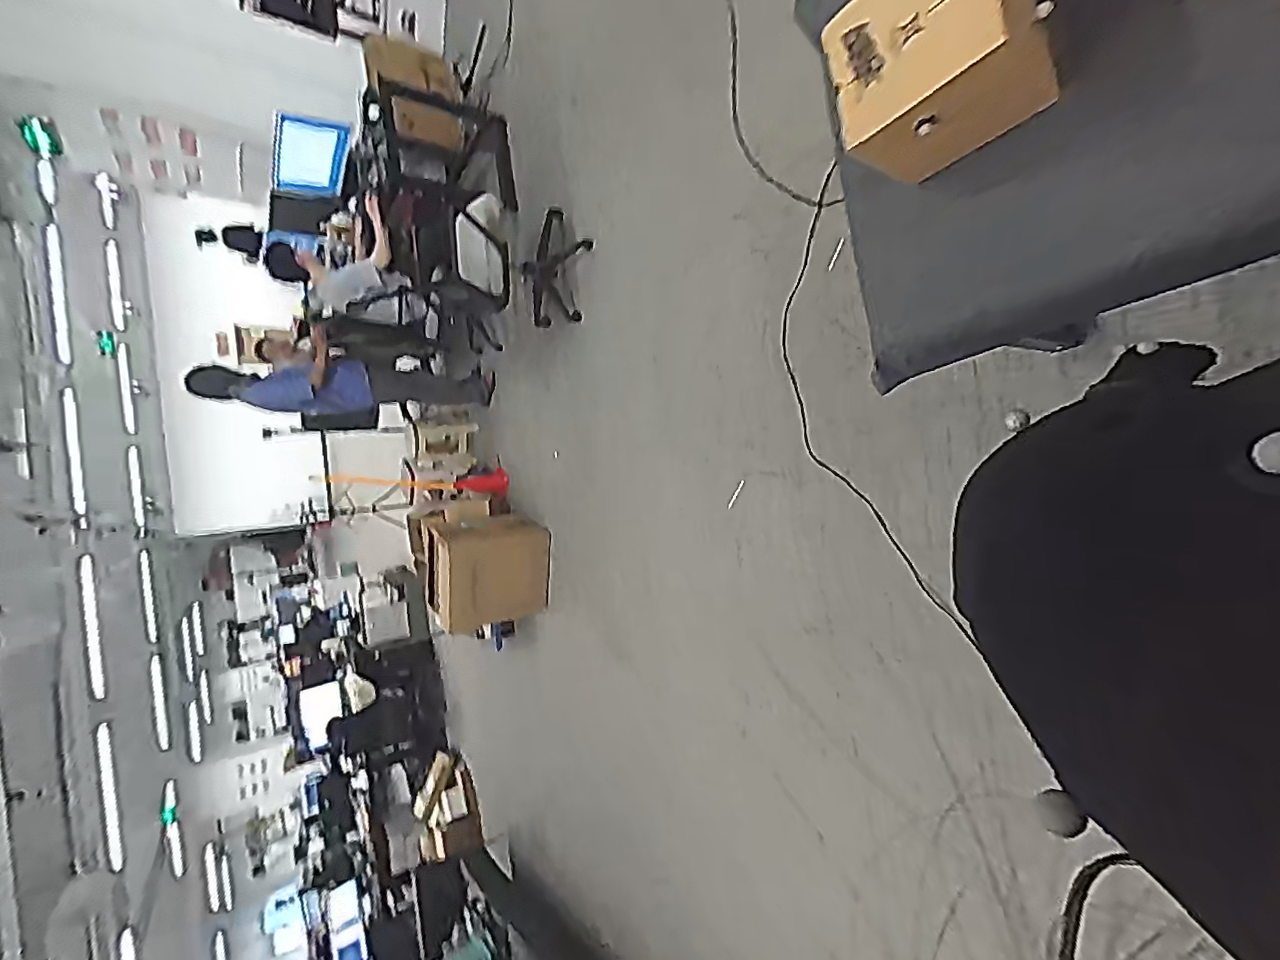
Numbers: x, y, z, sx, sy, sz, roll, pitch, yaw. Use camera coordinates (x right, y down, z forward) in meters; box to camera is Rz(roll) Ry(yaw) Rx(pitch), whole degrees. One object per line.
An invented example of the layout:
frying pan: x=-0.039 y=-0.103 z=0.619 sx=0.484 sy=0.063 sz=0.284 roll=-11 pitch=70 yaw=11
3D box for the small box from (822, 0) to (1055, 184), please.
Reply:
small box: x=0.353 y=-0.491 z=0.648 sx=0.179 sy=0.176 sz=0.168 roll=-15 pitch=83 yaw=52
